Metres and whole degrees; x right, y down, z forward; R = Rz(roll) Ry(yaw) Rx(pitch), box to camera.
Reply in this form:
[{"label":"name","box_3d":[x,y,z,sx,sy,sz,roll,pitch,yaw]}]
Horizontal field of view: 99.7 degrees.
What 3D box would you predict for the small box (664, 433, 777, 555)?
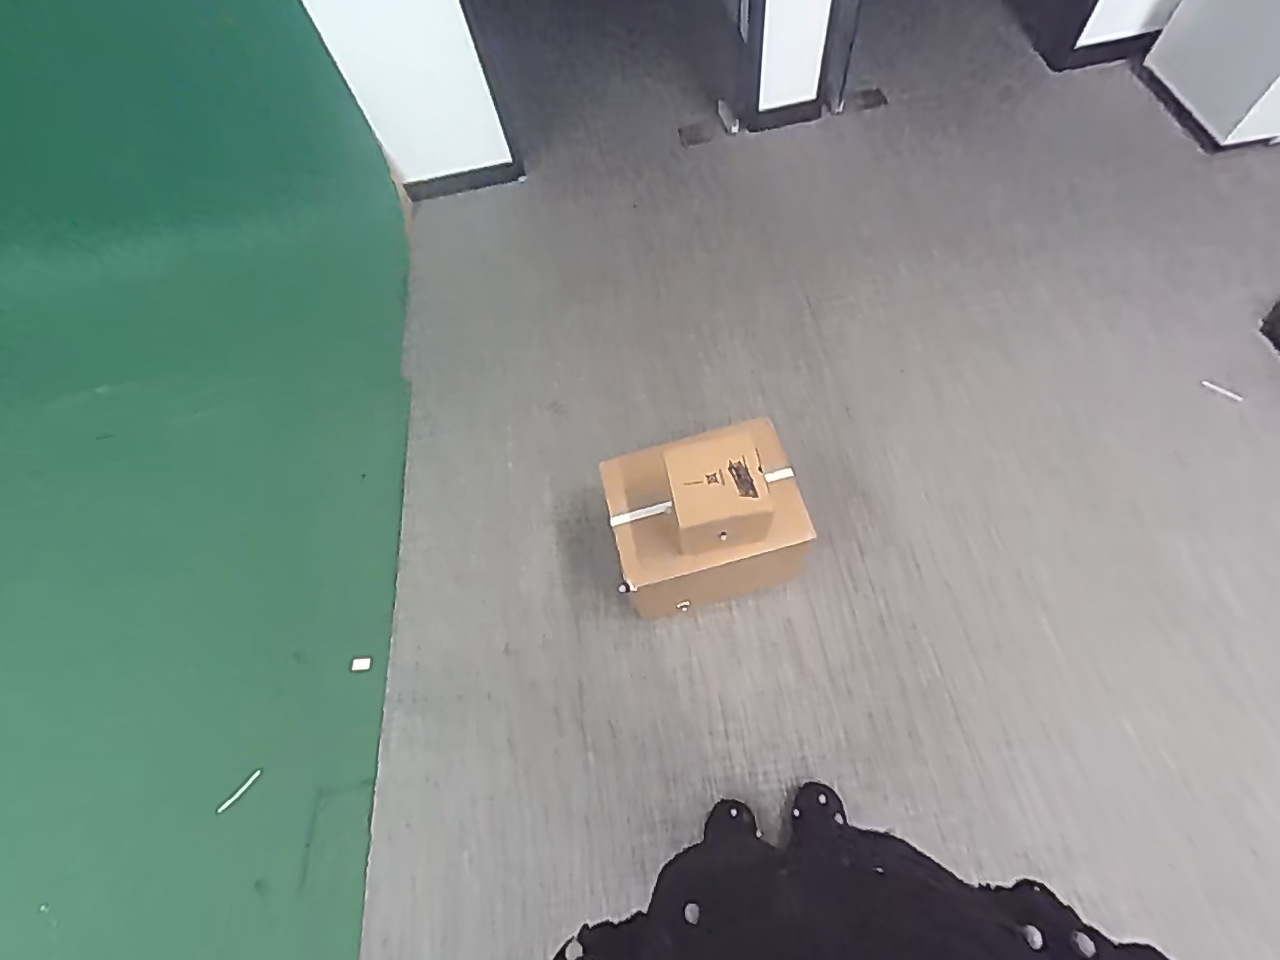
[{"label":"small box","box_3d":[0.150,0.033,1.063,0.179,0.176,0.168,-14,64,-1]}]
